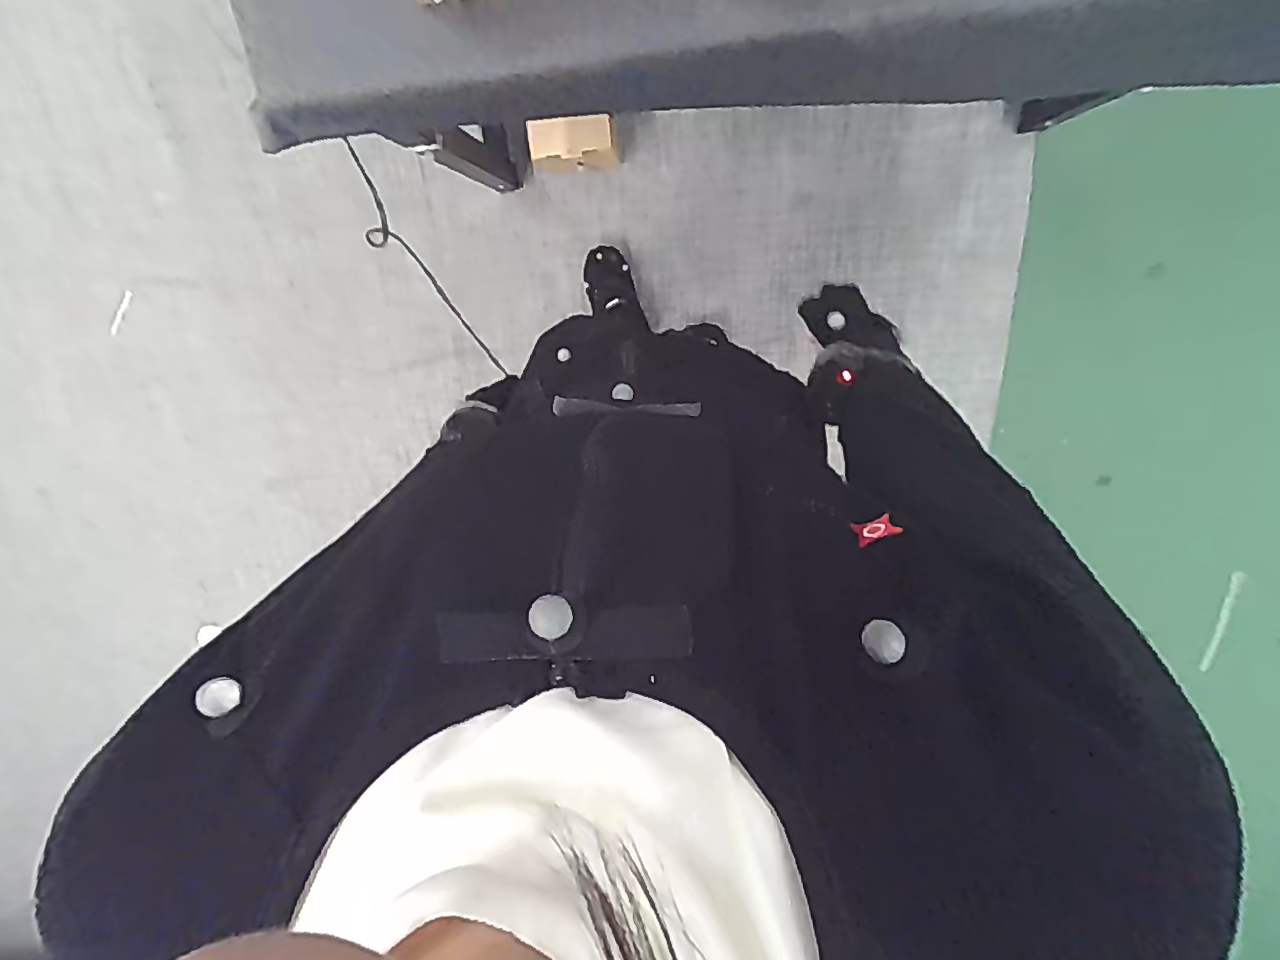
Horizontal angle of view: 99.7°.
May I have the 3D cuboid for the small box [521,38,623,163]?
[{"bbox_3d":[-0.131,-0.769,1.117,0.168,0.176,0.179,-3,111,6],"label":"small box"}]
